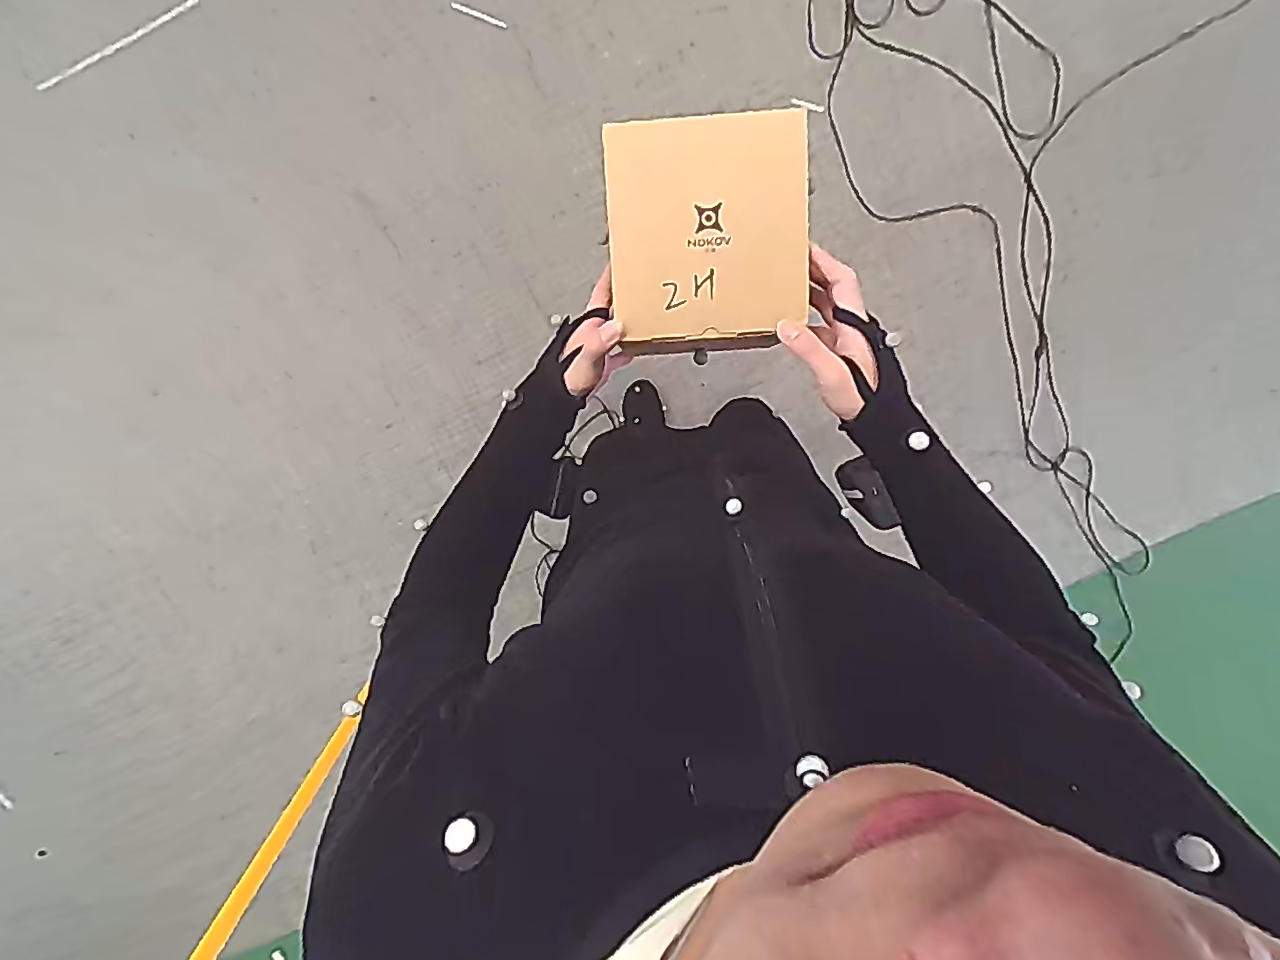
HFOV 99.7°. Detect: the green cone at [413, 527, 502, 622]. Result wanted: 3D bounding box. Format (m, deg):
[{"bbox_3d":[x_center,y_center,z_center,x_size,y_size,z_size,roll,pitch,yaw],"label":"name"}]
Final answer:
[{"bbox_3d":[-0.526,0.290,1.442,0.202,0.368,0.200,-24,101,1],"label":"green cone"}]
